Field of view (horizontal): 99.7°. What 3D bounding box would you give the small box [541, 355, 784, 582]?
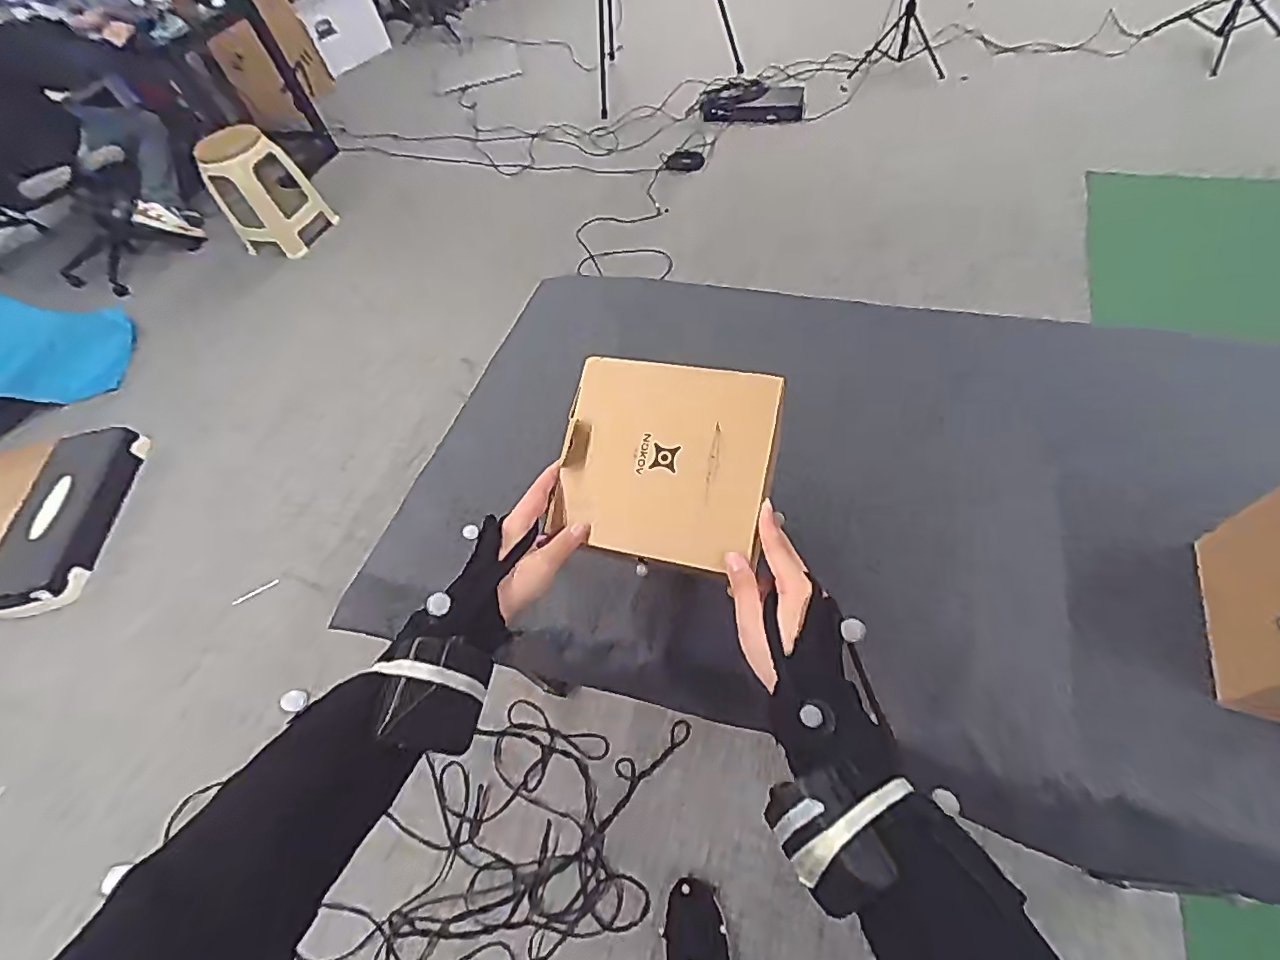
[{"bbox_3d":[0.033,-0.001,0.520,0.179,0.176,0.168,11,79,14],"label":"small box"}]
